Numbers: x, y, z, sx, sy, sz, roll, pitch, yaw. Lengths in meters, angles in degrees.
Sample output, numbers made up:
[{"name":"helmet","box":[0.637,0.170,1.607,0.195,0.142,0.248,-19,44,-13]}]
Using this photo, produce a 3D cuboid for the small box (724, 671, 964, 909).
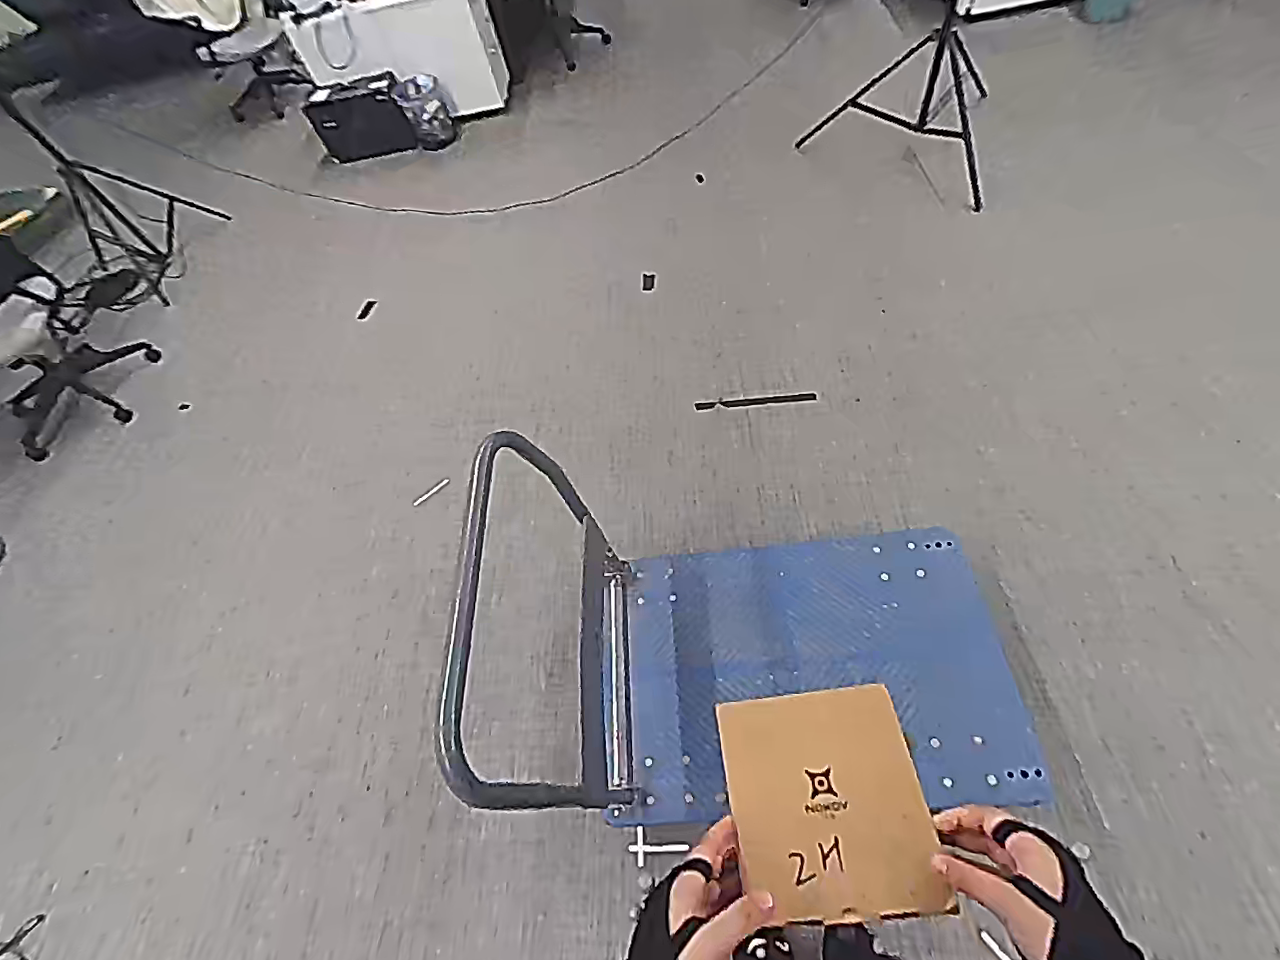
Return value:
[{"name":"small box","box":[0.183,0.312,0.537,0.168,0.176,0.179,-11,52,8]}]
